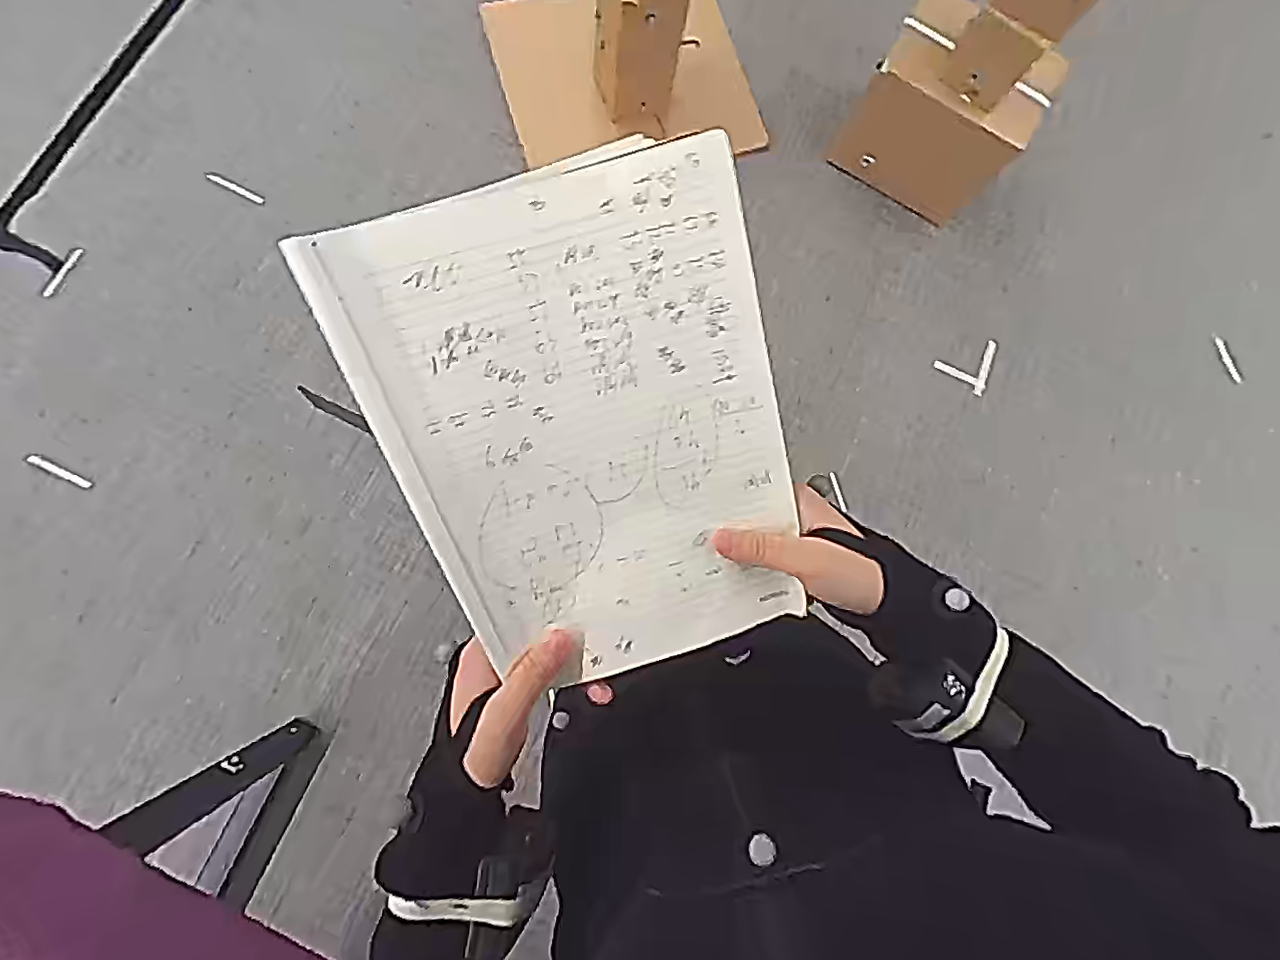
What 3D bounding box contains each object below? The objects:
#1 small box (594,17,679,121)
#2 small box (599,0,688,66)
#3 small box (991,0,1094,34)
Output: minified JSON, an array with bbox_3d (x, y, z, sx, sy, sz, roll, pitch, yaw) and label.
[{"bbox_3d":[-0.016,-1.116,1.460,0.179,0.176,0.168,-19,84,-11],"label":"small box"},{"bbox_3d":[0.003,-1.141,1.298,0.179,0.176,0.168,-17,84,-10],"label":"small box"},{"bbox_3d":[0.849,-1.042,1.068,0.179,0.176,0.168,29,78,0],"label":"small box"}]
